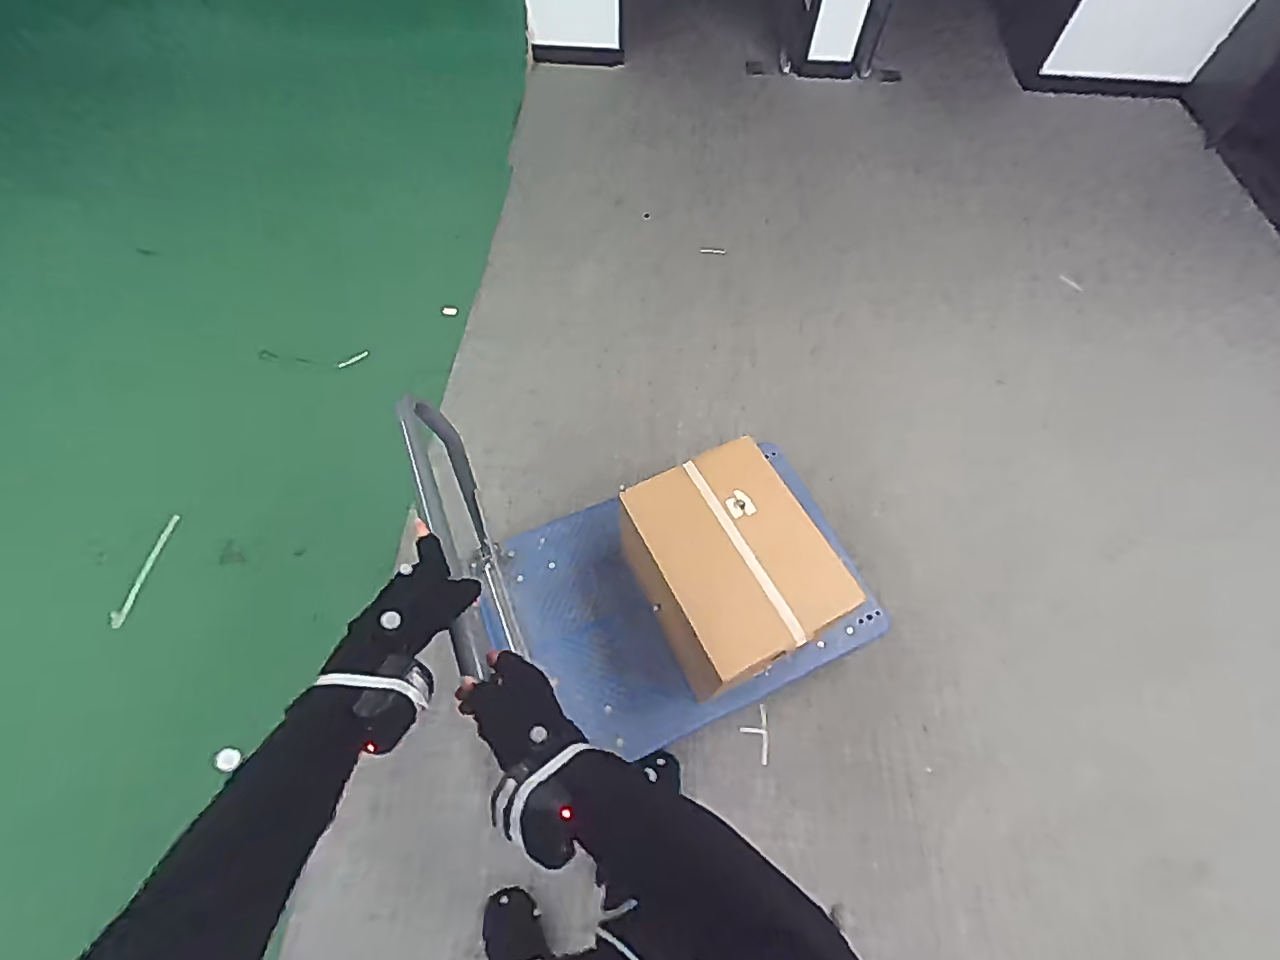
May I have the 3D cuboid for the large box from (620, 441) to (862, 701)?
[{"bbox_3d":[0.187,0.202,1.172,0.320,0.320,0.408,-24,63,-14],"label":"large box"}]
